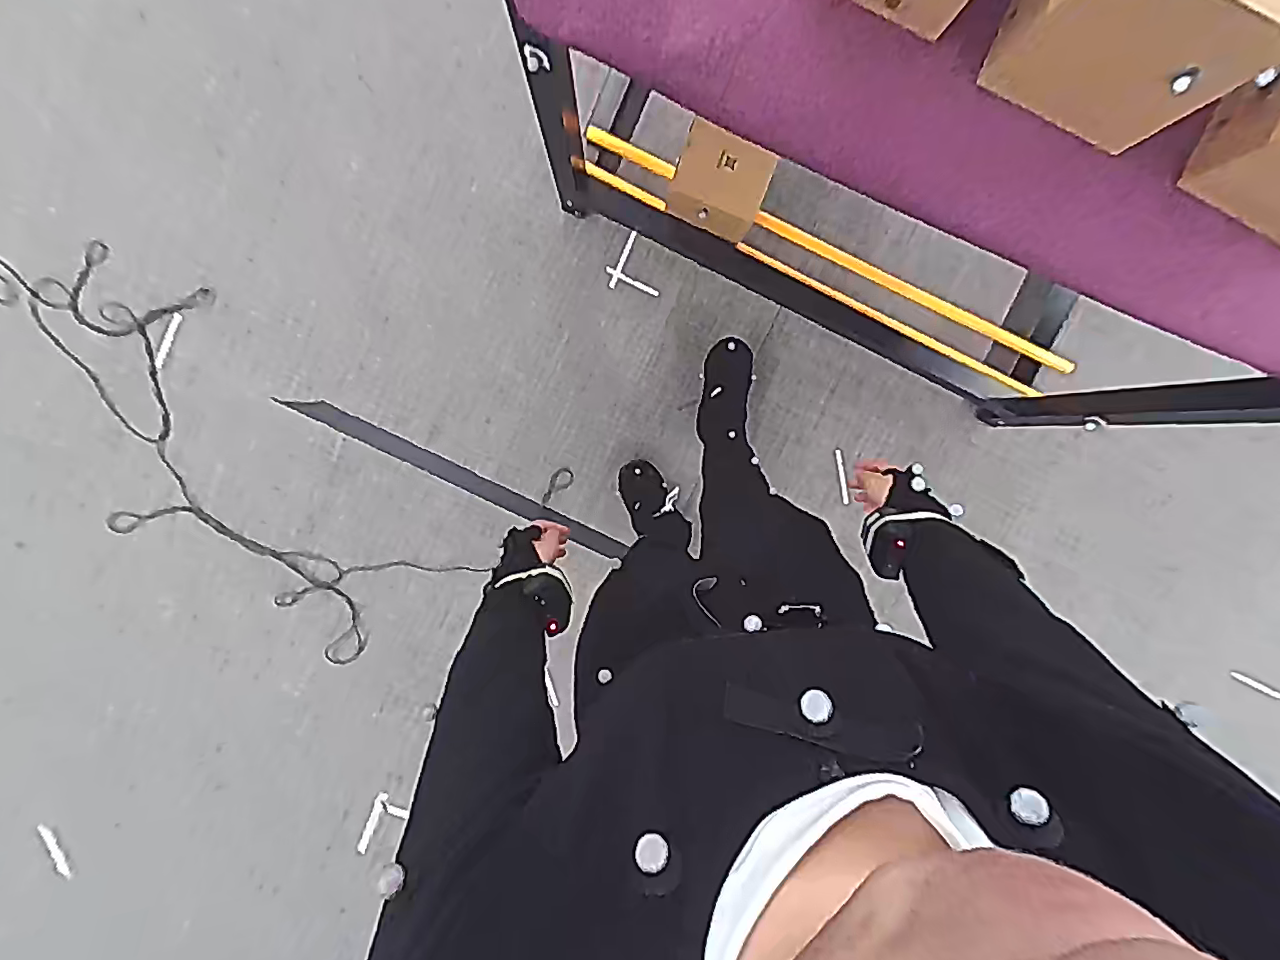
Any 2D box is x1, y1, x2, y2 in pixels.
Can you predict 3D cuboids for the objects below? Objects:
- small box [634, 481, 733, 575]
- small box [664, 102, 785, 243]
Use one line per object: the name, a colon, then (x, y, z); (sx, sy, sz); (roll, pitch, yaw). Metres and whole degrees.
small box: (0.095, 0.108, 1.242); (0.179, 0.176, 0.168); (-18, 94, -2)
small box: (0.159, -0.600, 1.083); (0.179, 0.176, 0.168); (20, 96, -3)
